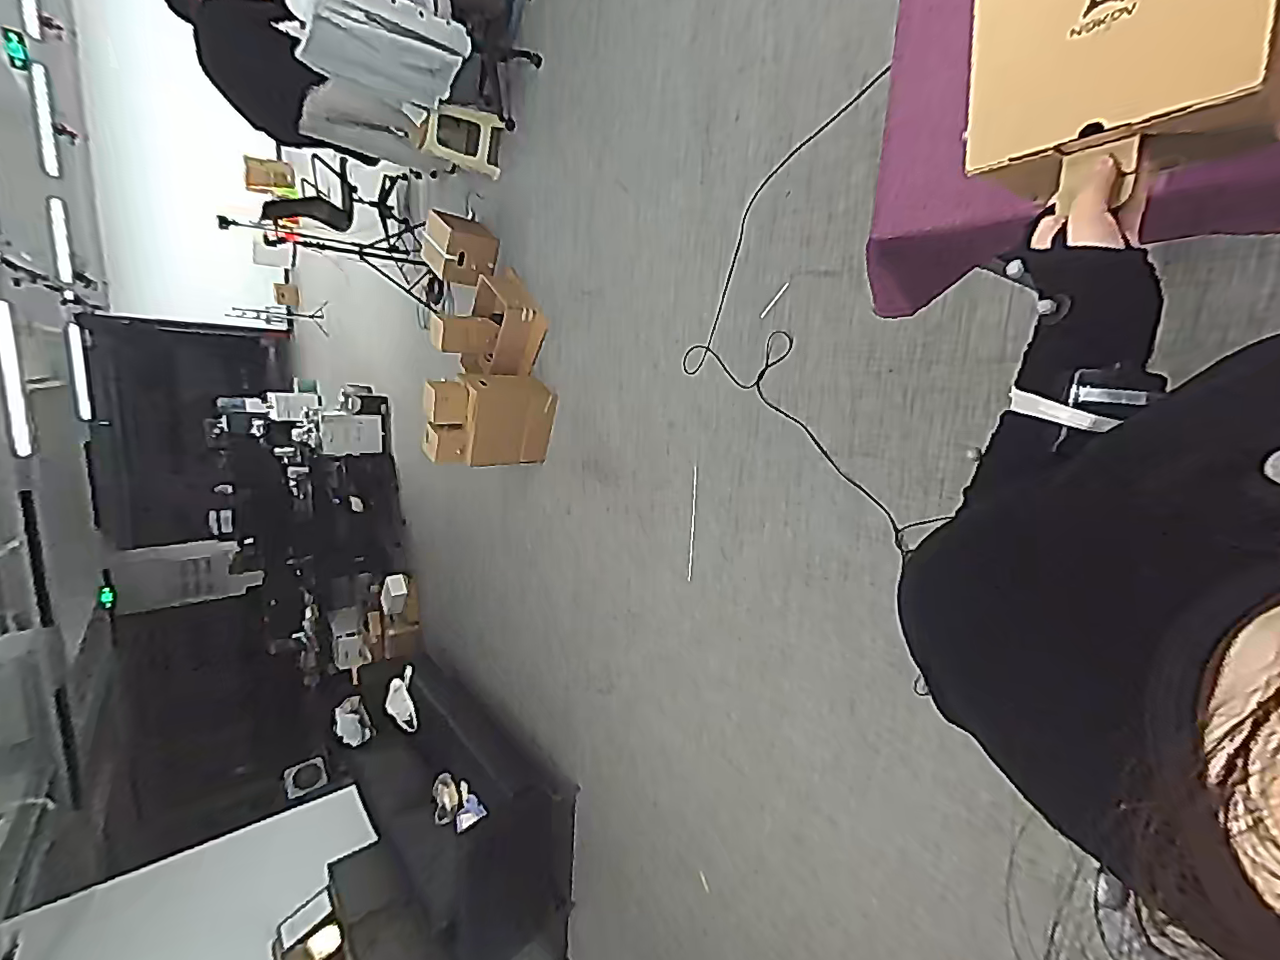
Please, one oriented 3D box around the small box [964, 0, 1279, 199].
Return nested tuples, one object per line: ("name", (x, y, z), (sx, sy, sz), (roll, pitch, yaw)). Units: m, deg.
("small box", (0.388, -0.351, 0.435), (0.168, 0.176, 0.179), (10, 108, 50))
